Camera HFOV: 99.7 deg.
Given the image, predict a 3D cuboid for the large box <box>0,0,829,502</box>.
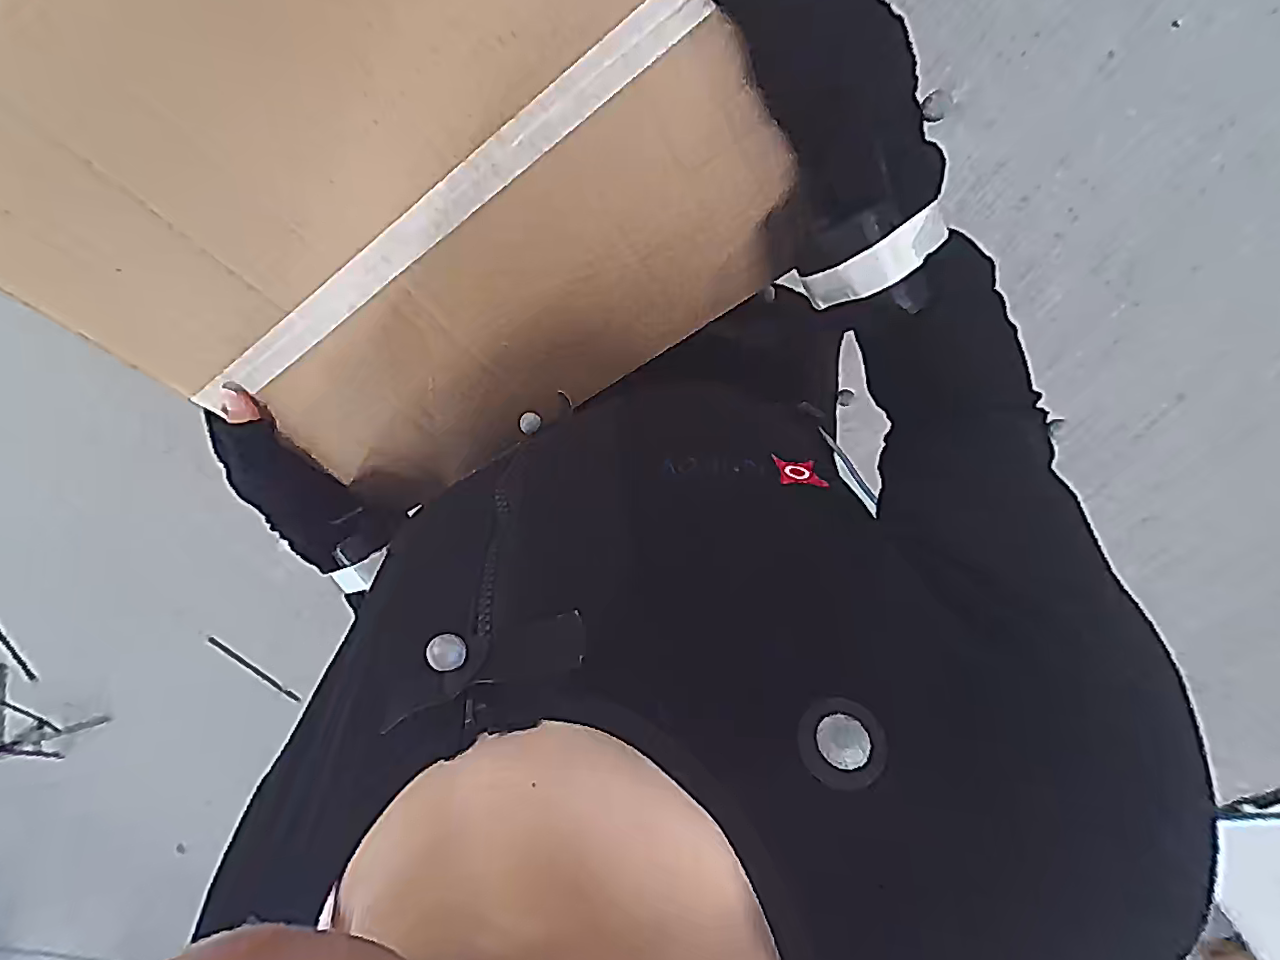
[{"bbox_3d":[-0.138,-0.257,0.417,0.408,0.320,0.320,-29,134,17],"label":"large box"}]
